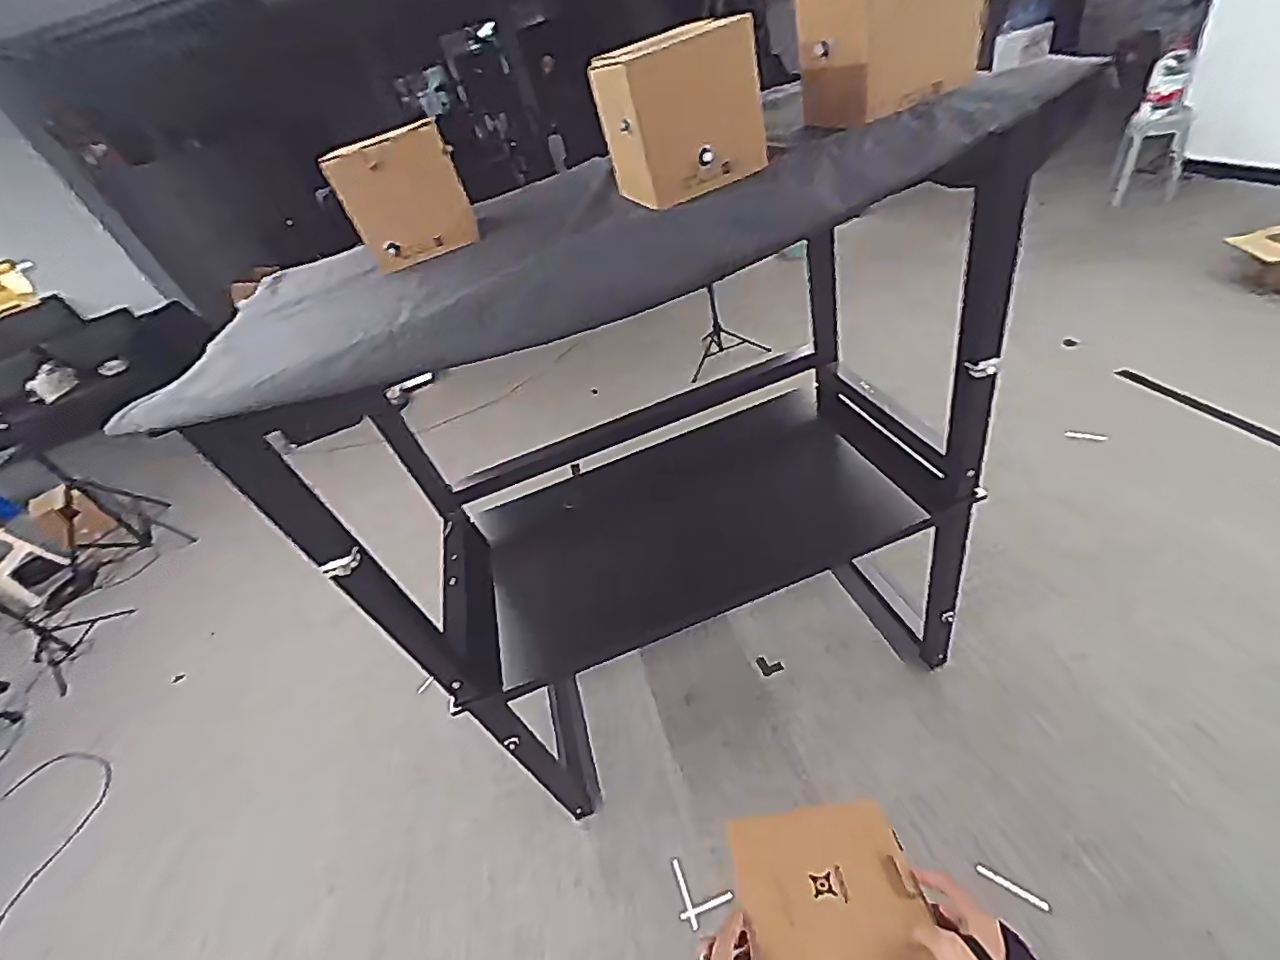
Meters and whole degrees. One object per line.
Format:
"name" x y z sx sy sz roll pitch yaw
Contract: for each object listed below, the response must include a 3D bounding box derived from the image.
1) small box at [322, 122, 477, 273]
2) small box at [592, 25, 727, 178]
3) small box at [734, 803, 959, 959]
"small box" -0.381 -0.461 0.889 0.168 0.176 0.179 -21 38 -3
"small box" 0.032 -0.632 0.914 0.168 0.176 0.179 -22 38 -1
"small box" 0.202 0.475 0.559 0.179 0.176 0.168 -9 19 4
